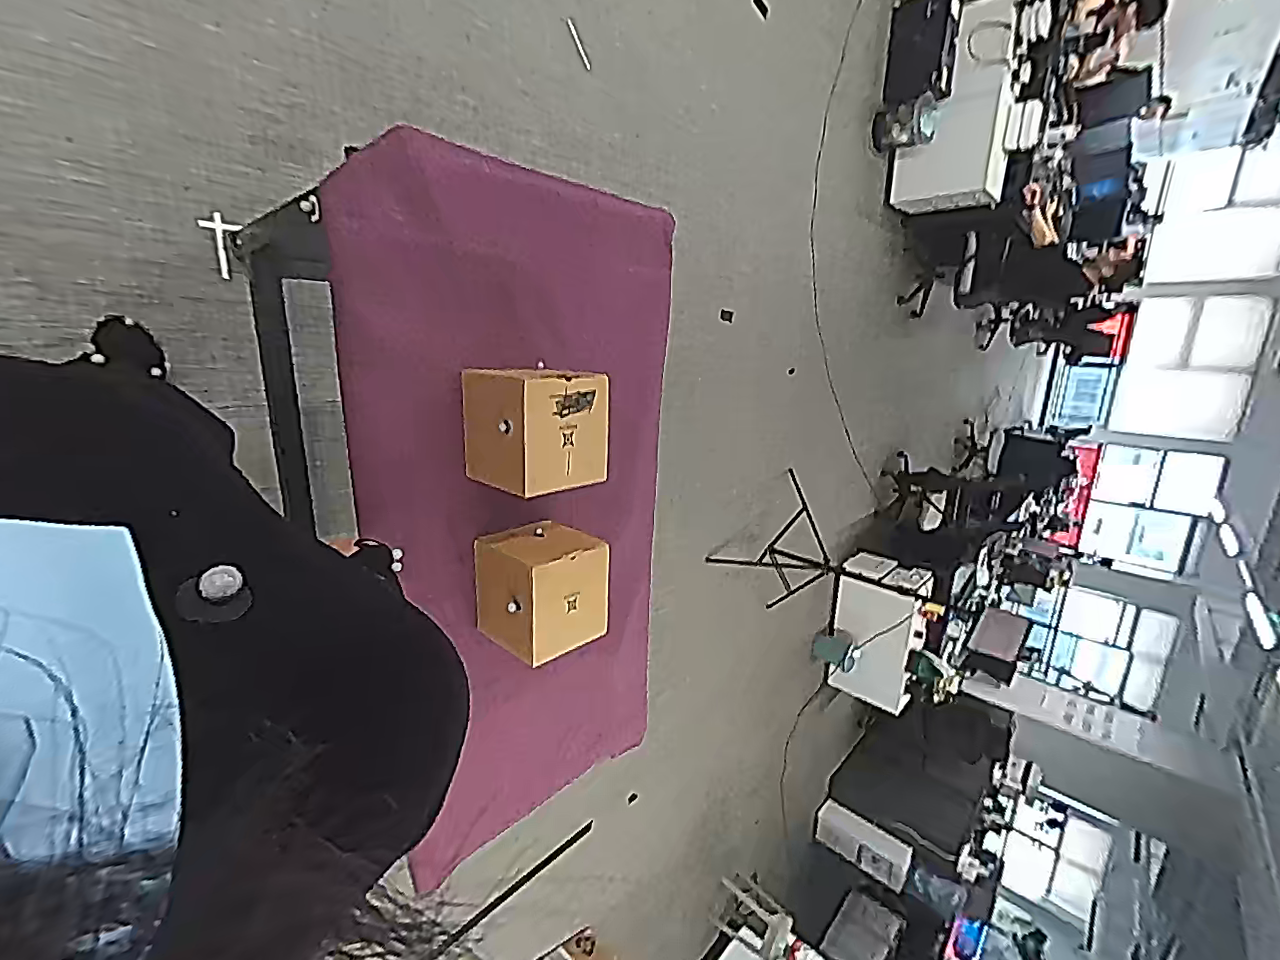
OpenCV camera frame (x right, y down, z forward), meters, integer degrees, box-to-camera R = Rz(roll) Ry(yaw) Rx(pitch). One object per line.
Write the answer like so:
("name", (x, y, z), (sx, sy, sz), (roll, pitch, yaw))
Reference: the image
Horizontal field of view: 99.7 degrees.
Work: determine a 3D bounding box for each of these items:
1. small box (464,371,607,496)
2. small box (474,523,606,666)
("small box", (-0.171, -0.085, 0.879), (0.168, 0.176, 0.179), (-12, 111, -46))
("small box", (-0.178, 0.190, 0.954), (0.168, 0.176, 0.179), (-12, 109, -46))
